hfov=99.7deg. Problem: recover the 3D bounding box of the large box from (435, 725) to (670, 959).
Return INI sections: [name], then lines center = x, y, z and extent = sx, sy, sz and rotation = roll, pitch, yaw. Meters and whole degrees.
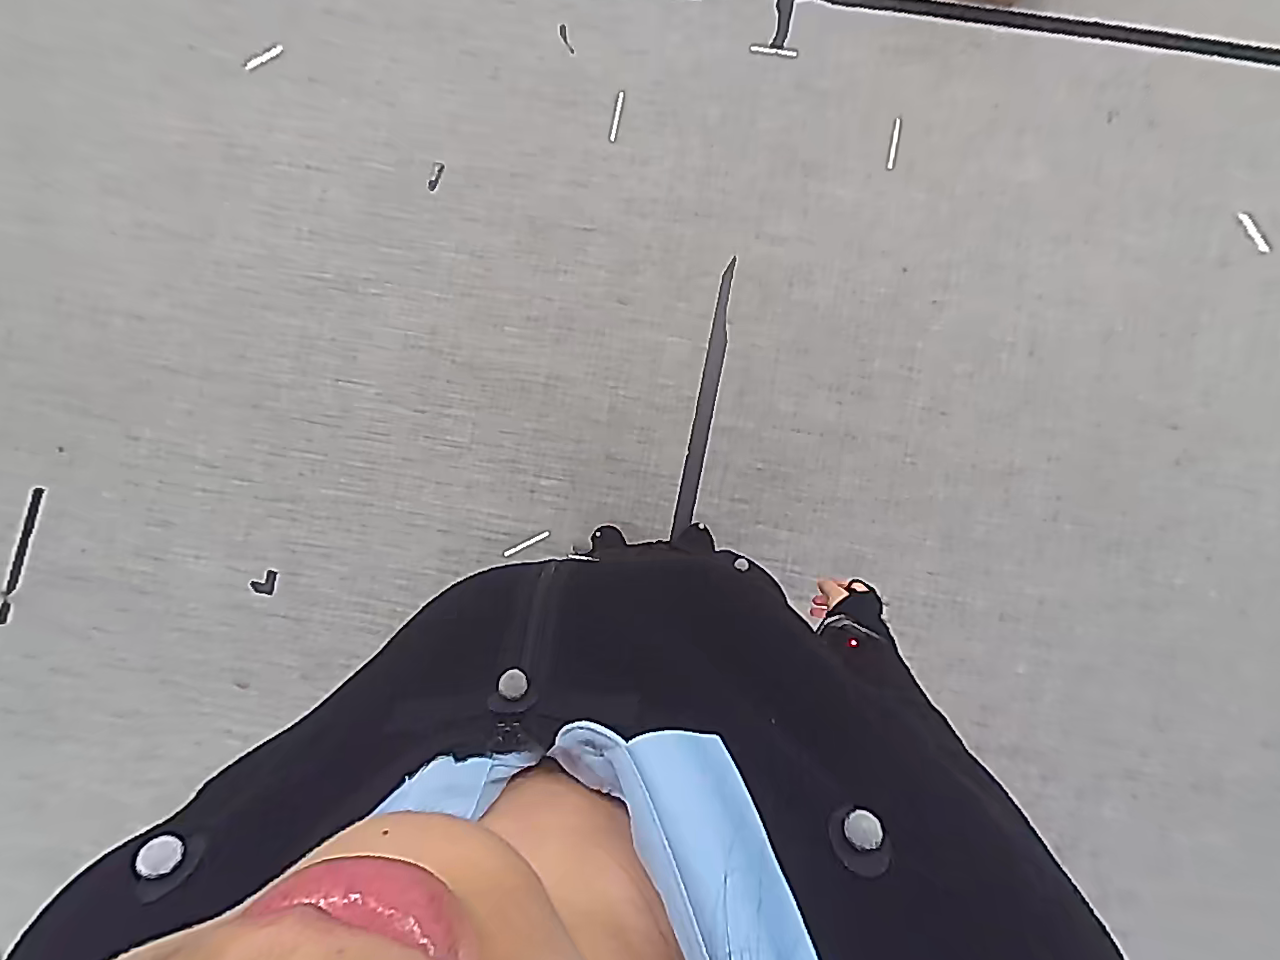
[large box]
center = -0.155, 0.761, 1.148
extent = 0.408, 0.320, 0.320
rotation = 10, 85, 3
